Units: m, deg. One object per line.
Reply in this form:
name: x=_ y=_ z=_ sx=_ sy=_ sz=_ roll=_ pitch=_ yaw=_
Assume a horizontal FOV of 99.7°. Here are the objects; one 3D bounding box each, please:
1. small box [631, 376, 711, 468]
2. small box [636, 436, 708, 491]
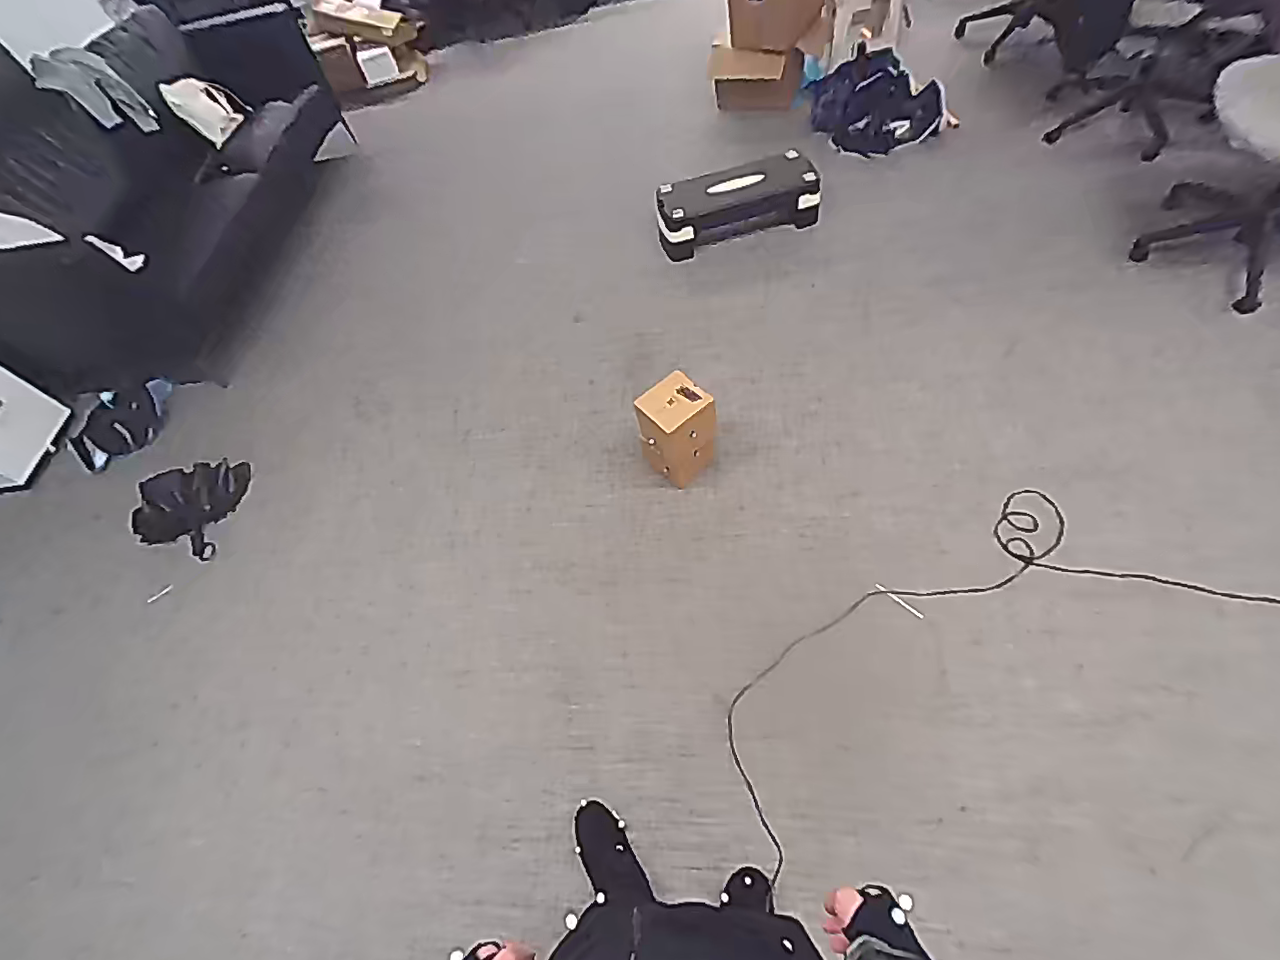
small box: x=0.098 y=-0.170 z=1.622 sx=0.179 sy=0.176 sz=0.168 roll=-38 pitch=59 yaw=-12
small box: x=0.113 y=-0.095 z=1.768 sx=0.168 sy=0.176 sz=0.179 roll=37 pitch=70 yaw=27
